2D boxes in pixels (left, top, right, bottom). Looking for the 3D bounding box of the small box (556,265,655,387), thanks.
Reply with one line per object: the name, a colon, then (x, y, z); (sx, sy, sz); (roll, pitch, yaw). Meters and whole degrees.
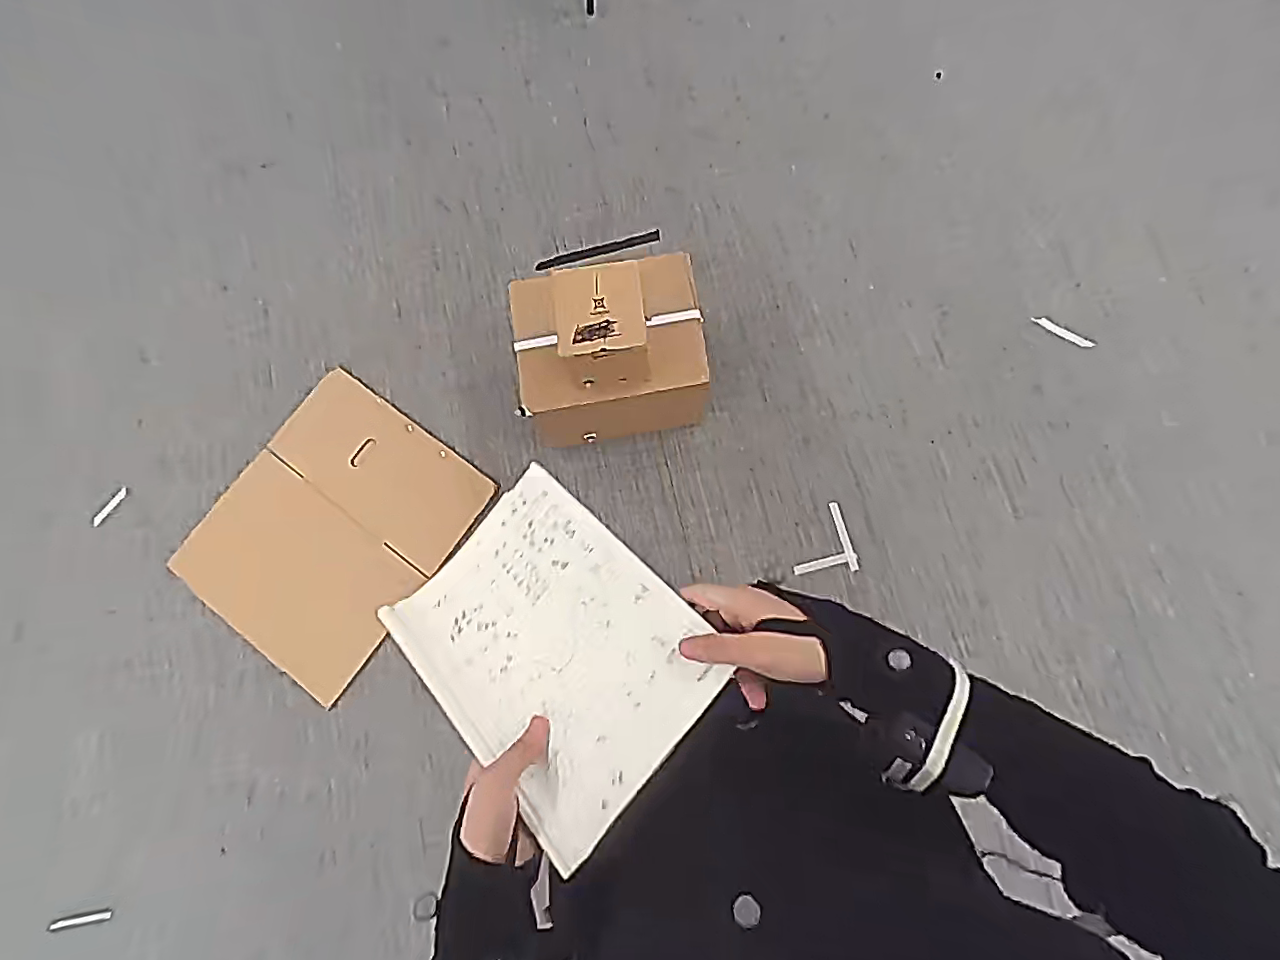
small box: (-0.063, -0.292, 1.069); (0.168, 0.176, 0.179); (-7, 79, 3)
